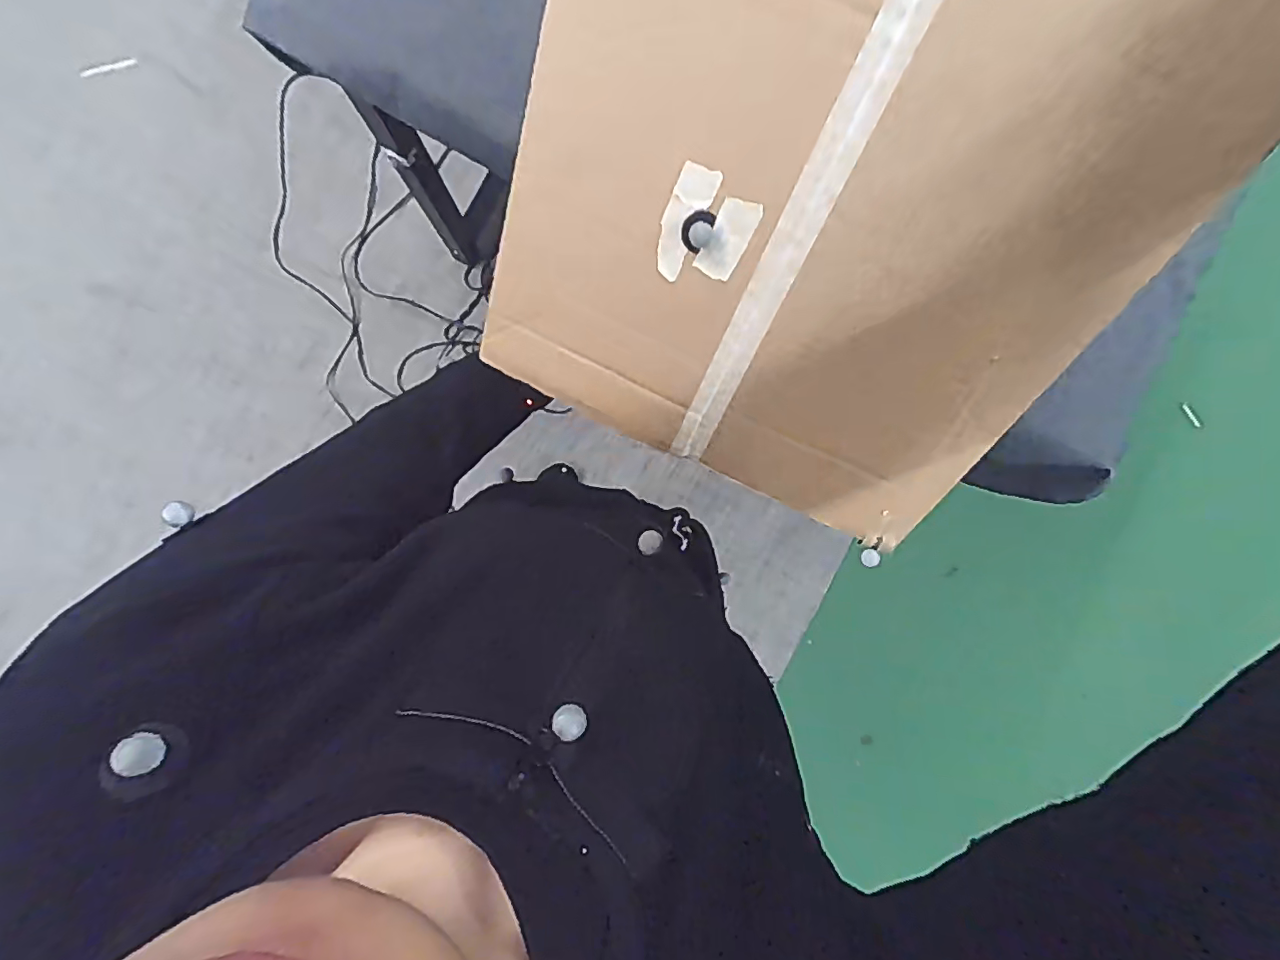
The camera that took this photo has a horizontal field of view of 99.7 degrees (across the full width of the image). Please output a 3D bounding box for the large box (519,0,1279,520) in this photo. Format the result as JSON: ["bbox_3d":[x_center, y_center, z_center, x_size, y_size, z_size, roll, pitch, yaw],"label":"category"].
[{"bbox_3d":[0.149,-0.258,0.383,0.320,0.320,0.408,25,128,1],"label":"large box"}]
